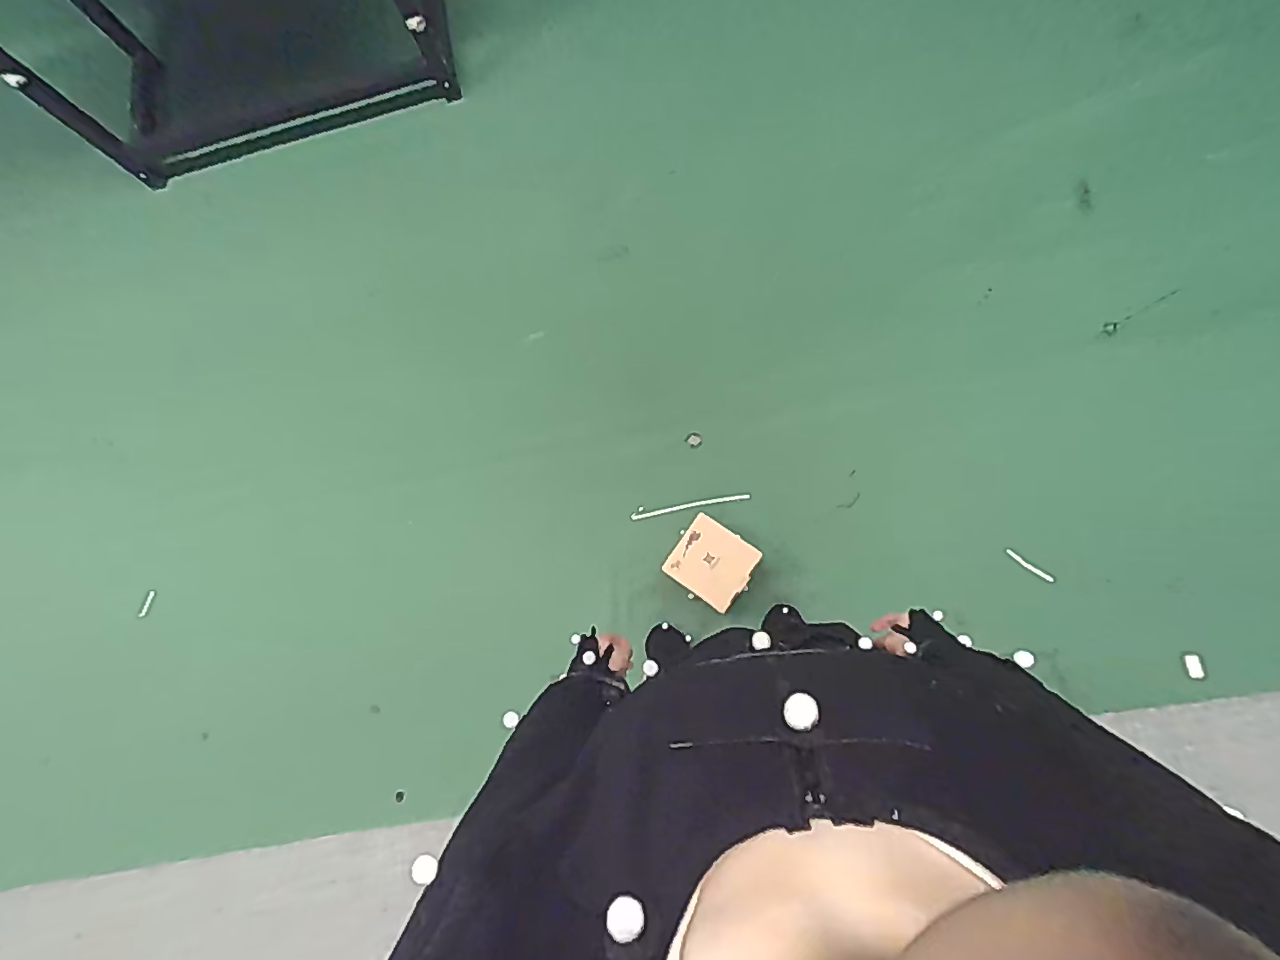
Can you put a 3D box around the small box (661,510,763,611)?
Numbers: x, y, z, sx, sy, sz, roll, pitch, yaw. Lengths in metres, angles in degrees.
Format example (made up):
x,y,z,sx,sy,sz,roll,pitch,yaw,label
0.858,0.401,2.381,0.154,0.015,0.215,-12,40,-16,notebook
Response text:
x,y,z,sx,sy,sz,roll,pitch,yaw,label
0.172,0.196,1.302,0.179,0.176,0.168,34,83,13,small box
